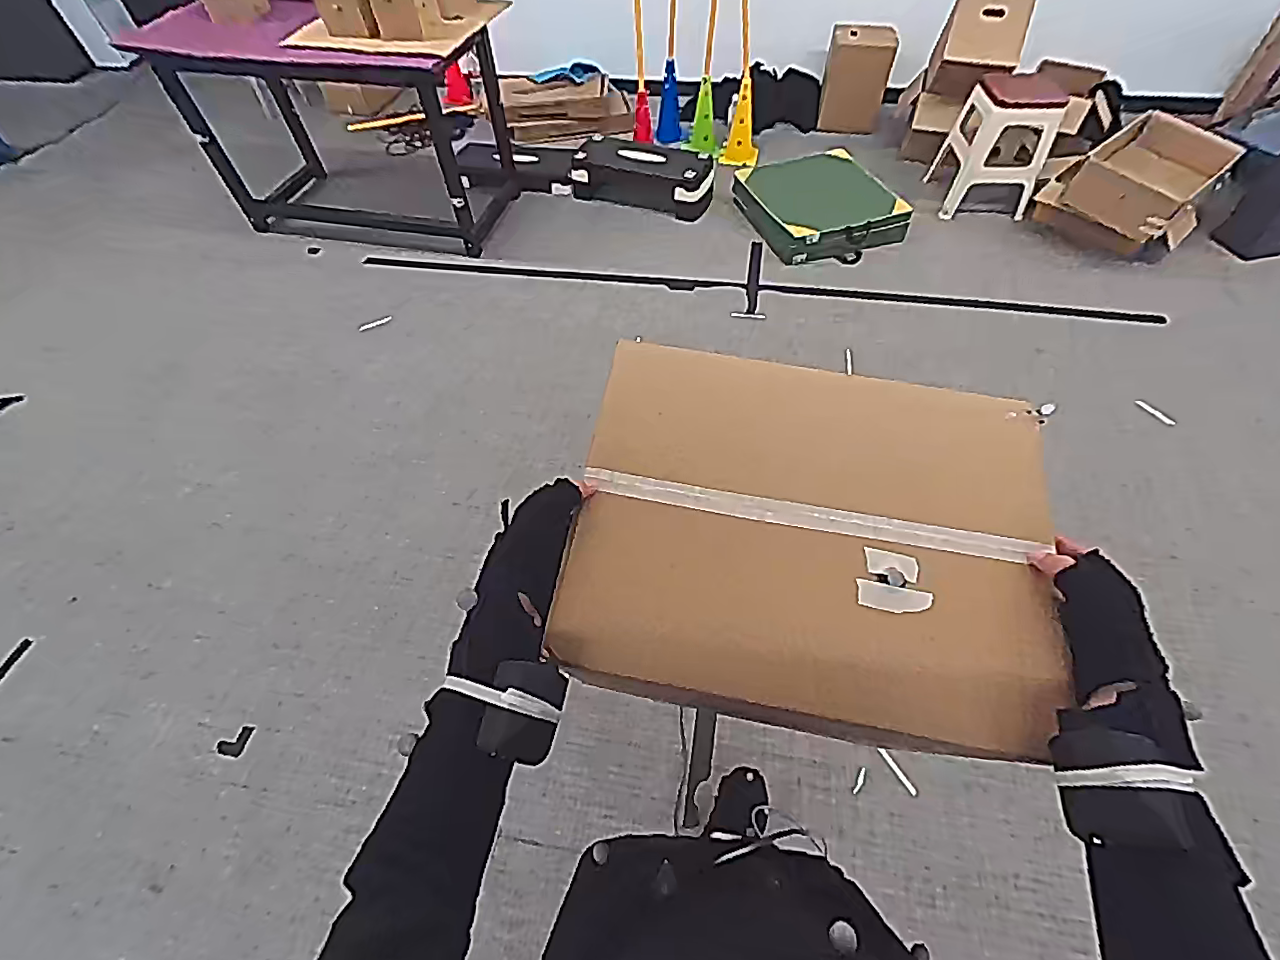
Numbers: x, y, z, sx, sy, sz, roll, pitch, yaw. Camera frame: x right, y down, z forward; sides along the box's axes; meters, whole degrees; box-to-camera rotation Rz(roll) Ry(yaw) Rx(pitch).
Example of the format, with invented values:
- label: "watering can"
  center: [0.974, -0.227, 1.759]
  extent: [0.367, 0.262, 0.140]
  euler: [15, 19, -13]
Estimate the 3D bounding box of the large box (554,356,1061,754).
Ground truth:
- label: "large box"
  center: [0.147, 0.100, 0.614]
  extent: [0.408, 0.320, 0.320]
  euler: [10, 67, 4]
